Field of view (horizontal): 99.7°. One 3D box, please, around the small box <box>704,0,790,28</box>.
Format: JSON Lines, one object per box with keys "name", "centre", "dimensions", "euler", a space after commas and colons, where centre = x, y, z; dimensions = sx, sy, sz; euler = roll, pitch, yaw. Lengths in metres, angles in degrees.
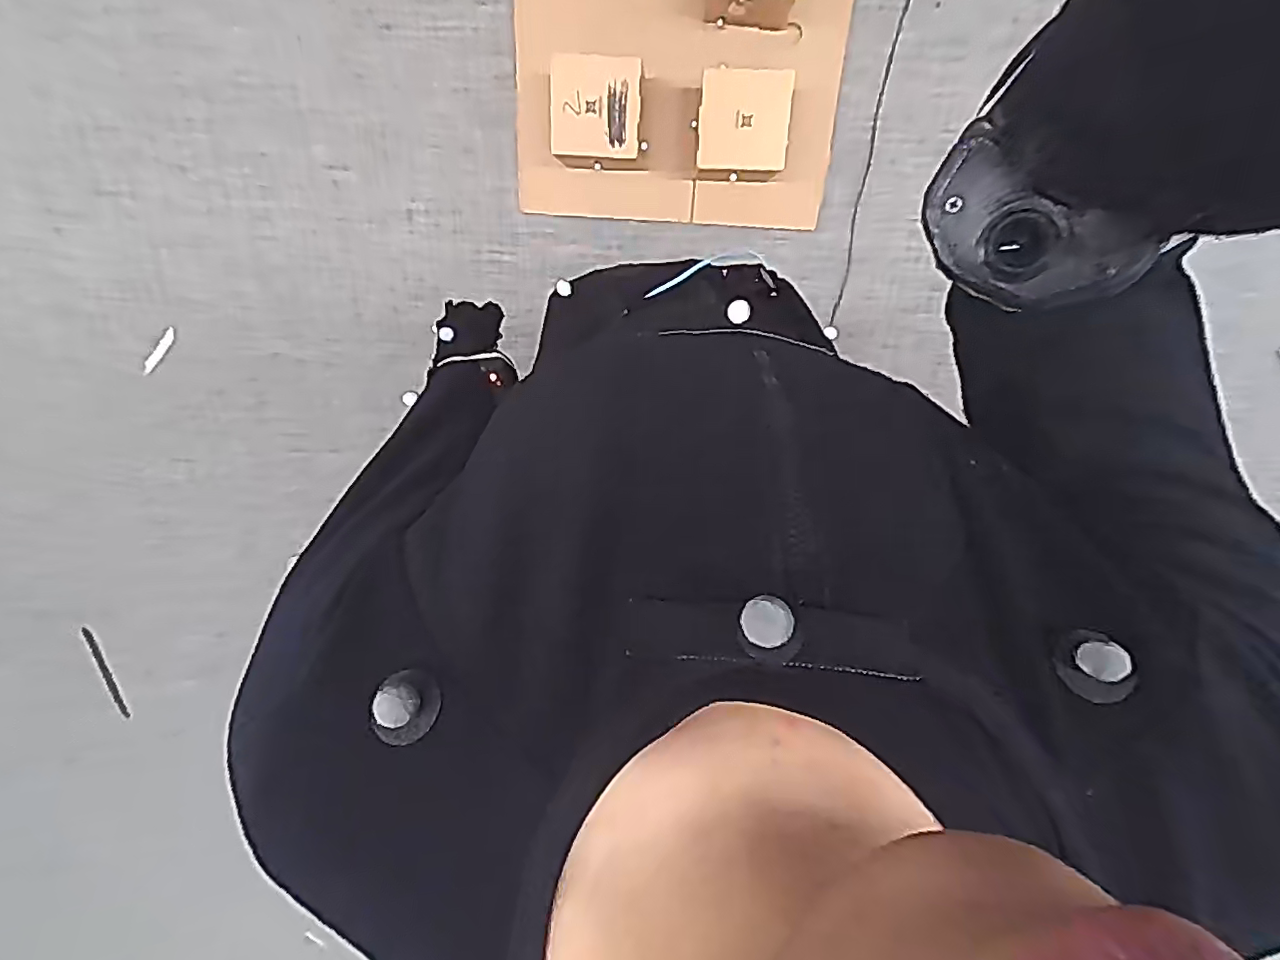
{"name": "small box", "centre": [0.213, -0.987, 1.011], "dimensions": [0.168, 0.176, 0.179], "euler": [7, 112, 1]}
